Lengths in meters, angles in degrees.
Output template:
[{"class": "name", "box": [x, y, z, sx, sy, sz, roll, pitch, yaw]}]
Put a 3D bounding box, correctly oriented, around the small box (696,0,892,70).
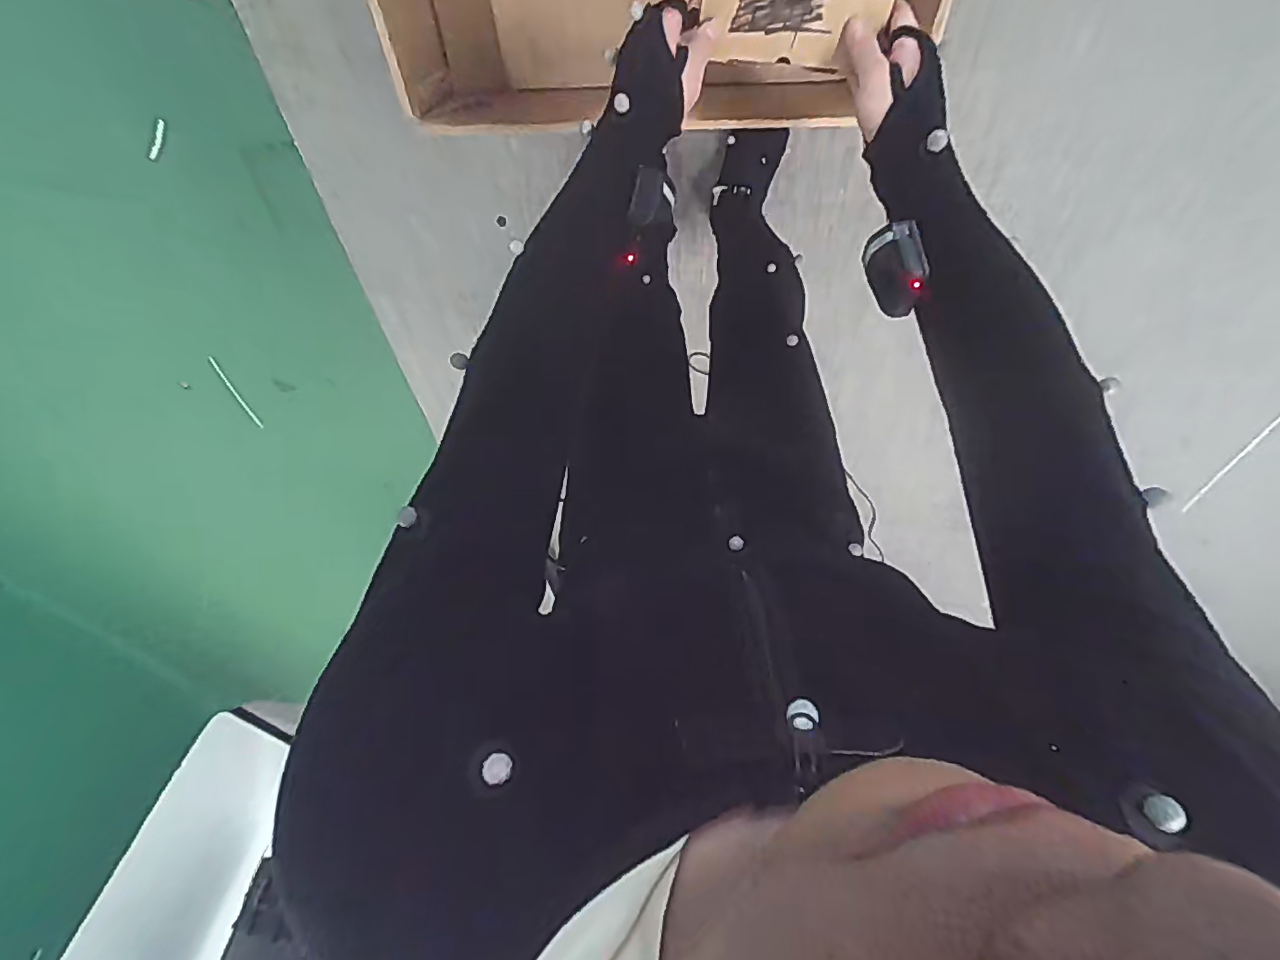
[{"class": "small box", "box": [0.146, -0.506, 0.483, 0.168, 0.176, 0.179, 6, 142, 0]}]
